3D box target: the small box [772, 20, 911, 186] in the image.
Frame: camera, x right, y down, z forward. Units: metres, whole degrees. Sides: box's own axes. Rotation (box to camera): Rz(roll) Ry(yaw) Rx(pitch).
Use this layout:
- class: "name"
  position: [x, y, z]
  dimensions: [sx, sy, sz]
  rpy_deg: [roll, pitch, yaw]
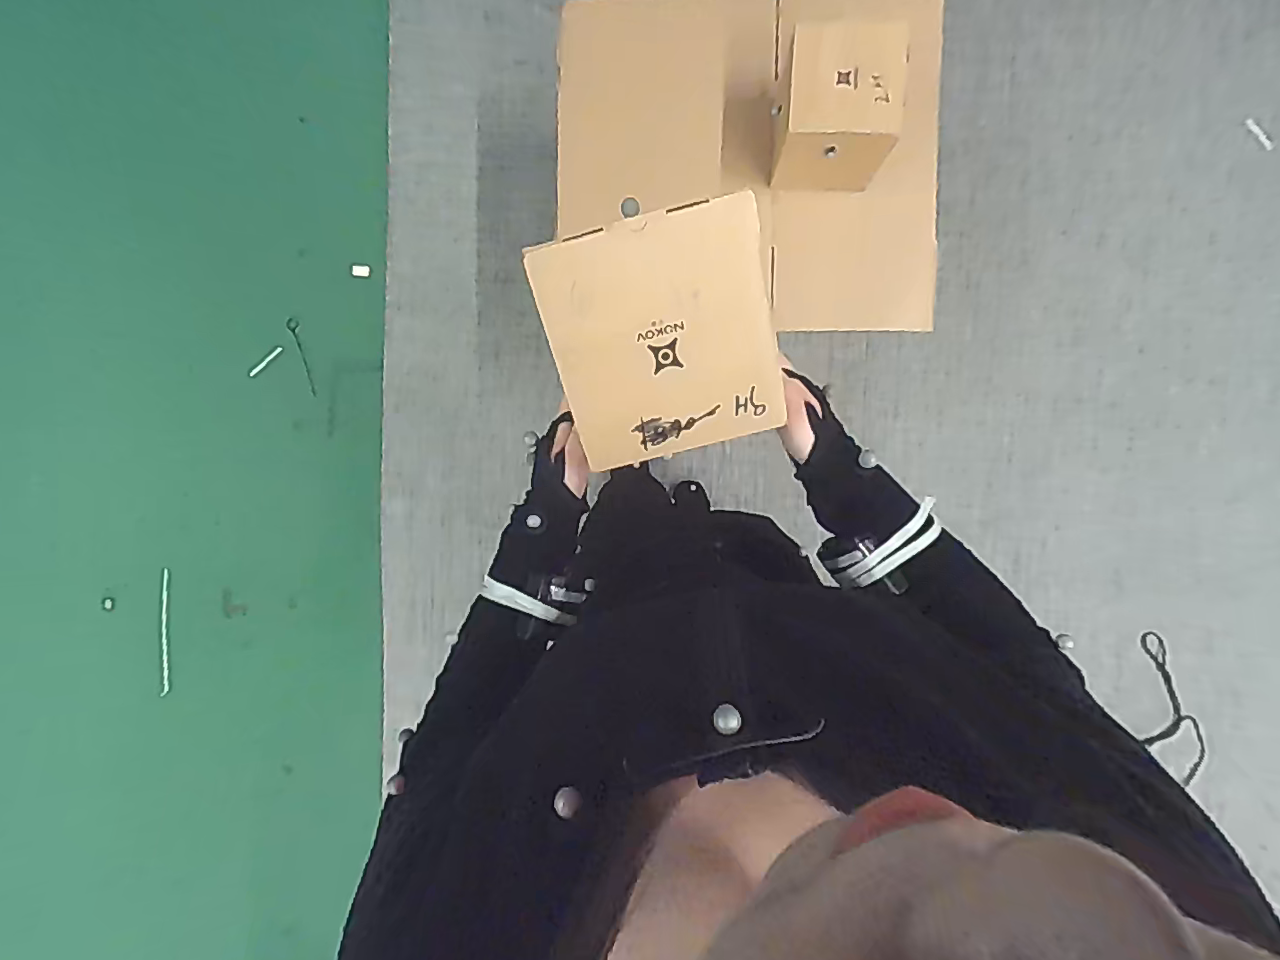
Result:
- class: "small box"
  position: [0.321, -0.610, 0.895]
  dimensions: [0.179, 0.176, 0.168]
  rpy_deg: [4, 92, 4]

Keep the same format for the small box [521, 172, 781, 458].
- class: "small box"
  position: [0.012, -0.143, 0.474]
  dimensions: [0.168, 0.176, 0.179]
  rpy_deg: [-13, 113, 5]
